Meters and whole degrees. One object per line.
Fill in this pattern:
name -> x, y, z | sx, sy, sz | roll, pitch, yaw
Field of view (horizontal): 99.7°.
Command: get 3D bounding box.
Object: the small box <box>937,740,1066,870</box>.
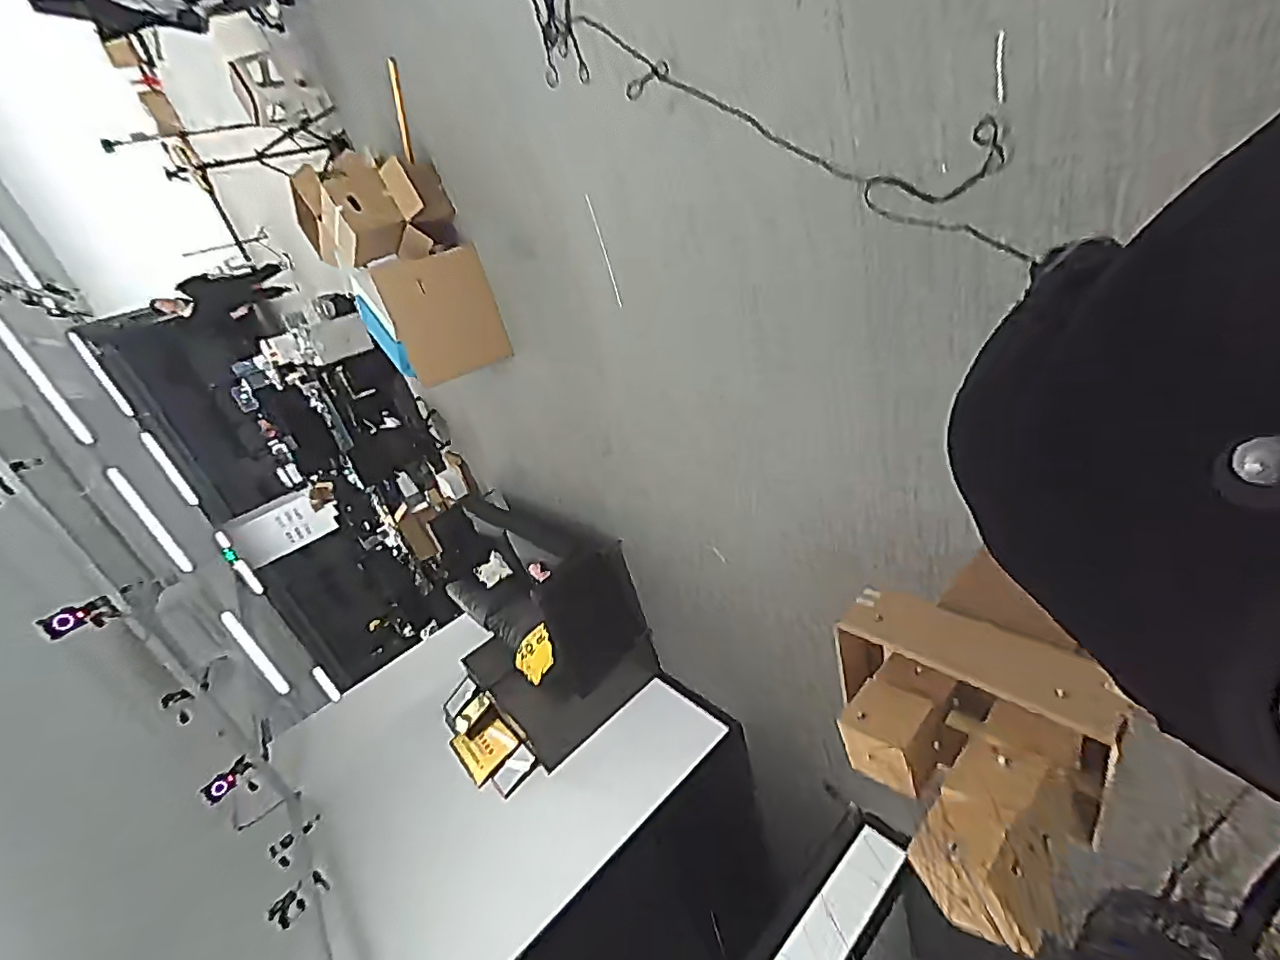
small box -> 0.792, 0.713, 1.180 | 0.168, 0.176, 0.179 | -9, 110, 56

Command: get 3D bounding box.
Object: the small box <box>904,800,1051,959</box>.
small box -> 0.679, 0.781, 1.082 | 0.168, 0.176, 0.179 | 57, 149, 1

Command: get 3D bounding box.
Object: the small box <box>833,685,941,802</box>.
small box -> 0.623, 0.649, 1.360 | 0.179, 0.176, 0.168 | 5, 123, 52
